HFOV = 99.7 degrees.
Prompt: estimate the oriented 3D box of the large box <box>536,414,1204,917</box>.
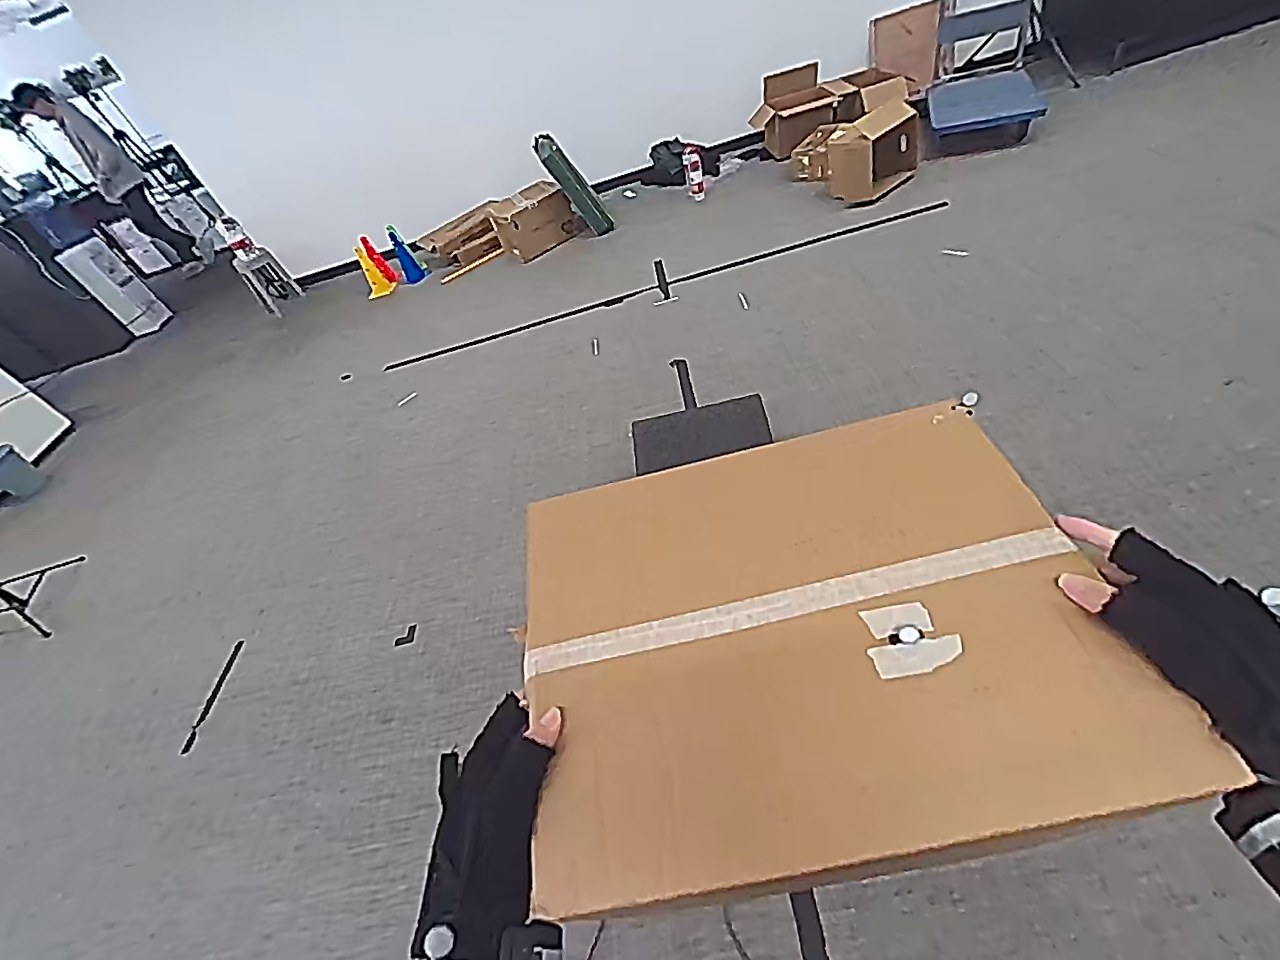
[{"bbox_3d":[0.142,0.193,0.529,0.408,0.320,0.320,-14,50,3],"label":"large box"}]
